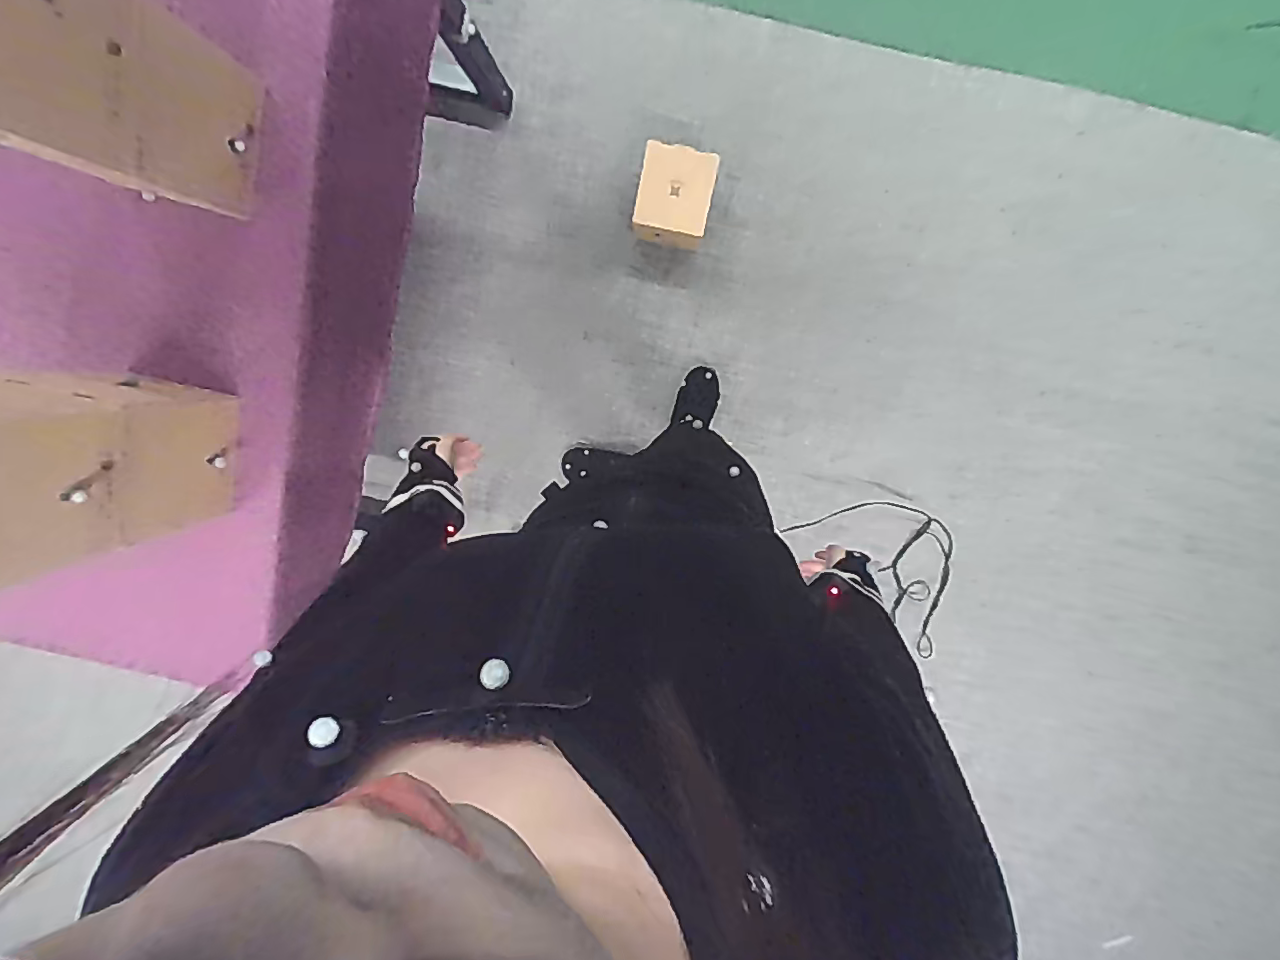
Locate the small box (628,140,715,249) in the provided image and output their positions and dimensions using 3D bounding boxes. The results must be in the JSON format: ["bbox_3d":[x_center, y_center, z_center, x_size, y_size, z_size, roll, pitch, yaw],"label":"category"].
[{"bbox_3d":[0.072,-0.665,1.282,0.168,0.176,0.179,11,101,-1],"label":"small box"}]

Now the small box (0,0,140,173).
[{"bbox_3d":[-0.572,-0.381,0.447,0.179,0.176,0.168,14,102,-1],"label":"small box"}]

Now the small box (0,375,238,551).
[{"bbox_3d":[-0.656,-0.032,0.691,0.168,0.176,0.179,12,101,0],"label":"small box"}]
